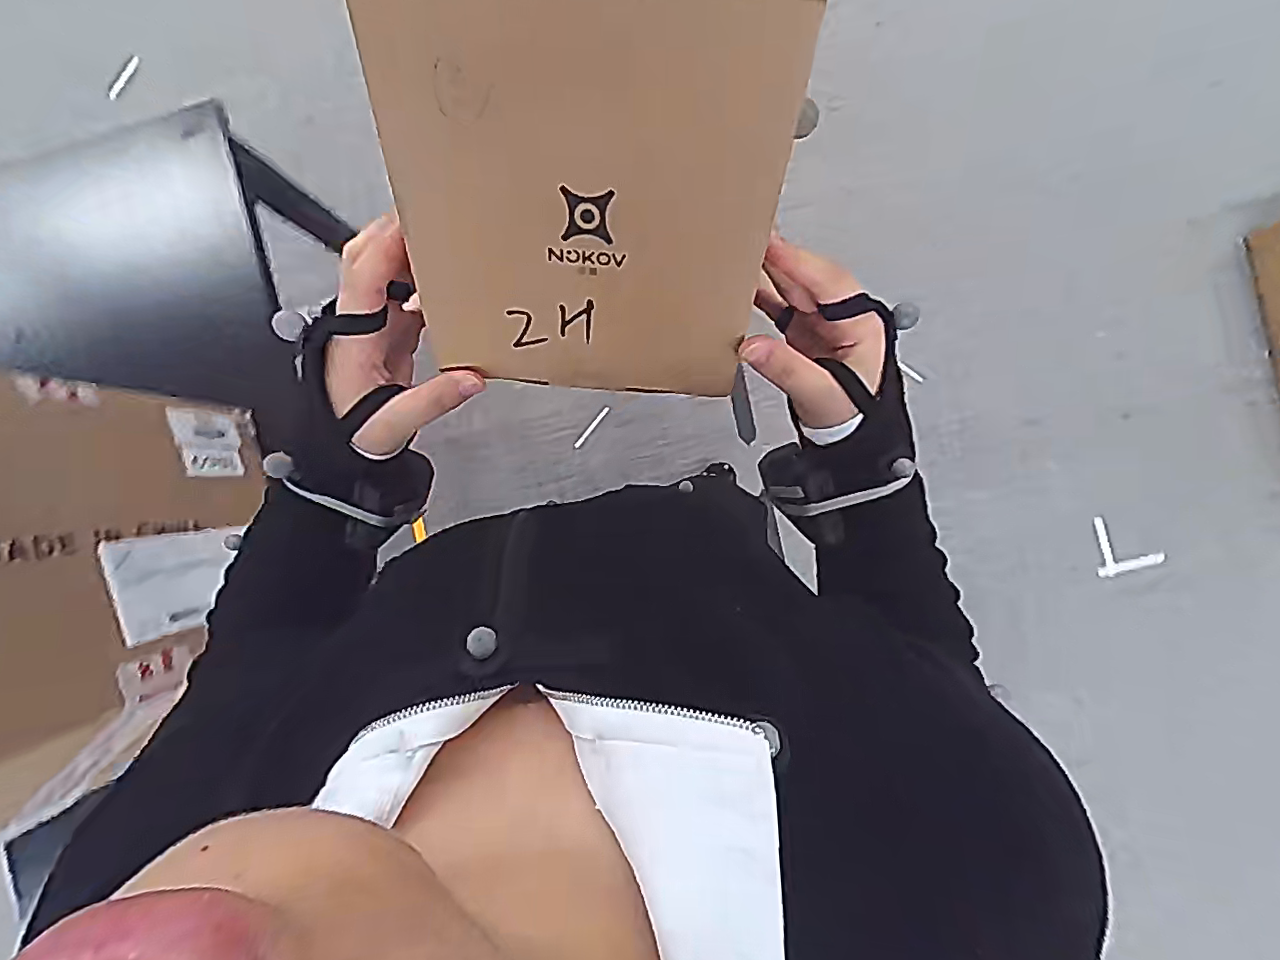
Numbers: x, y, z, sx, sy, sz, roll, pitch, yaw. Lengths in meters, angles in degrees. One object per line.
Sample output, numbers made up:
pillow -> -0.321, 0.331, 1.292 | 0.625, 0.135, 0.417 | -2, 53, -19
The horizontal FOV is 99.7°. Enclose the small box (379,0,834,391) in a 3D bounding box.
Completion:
small box -> -0.016, -0.176, 0.300 | 0.168, 0.179, 0.176 | 6, 47, -1
